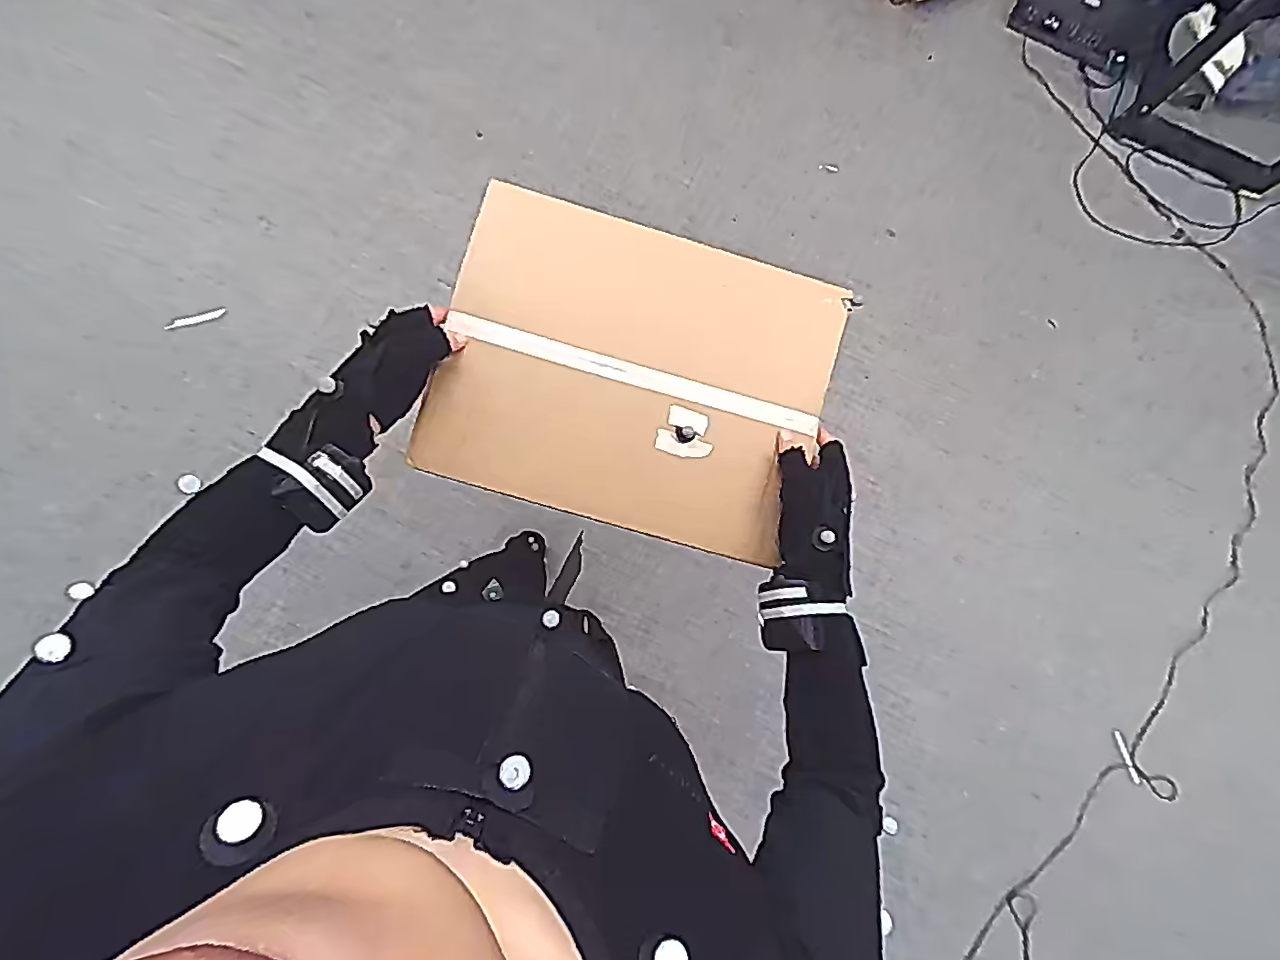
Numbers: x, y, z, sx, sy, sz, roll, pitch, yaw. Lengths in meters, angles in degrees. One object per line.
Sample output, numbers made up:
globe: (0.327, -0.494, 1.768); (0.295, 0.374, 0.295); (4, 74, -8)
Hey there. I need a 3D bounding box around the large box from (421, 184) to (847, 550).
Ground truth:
large box: (-0.012, -0.113, 0.721); (0.408, 0.320, 0.320); (15, 88, -4)
